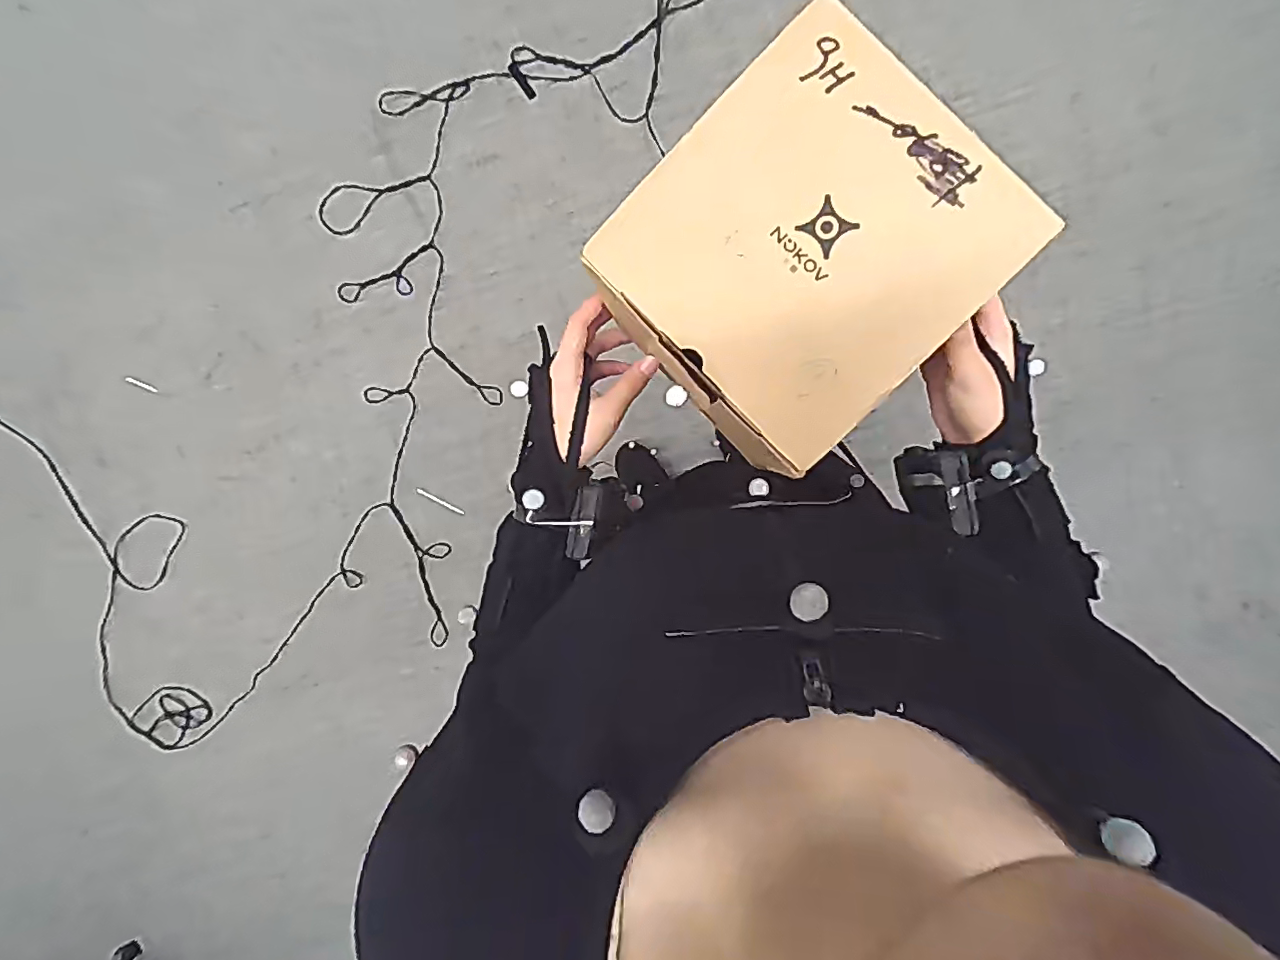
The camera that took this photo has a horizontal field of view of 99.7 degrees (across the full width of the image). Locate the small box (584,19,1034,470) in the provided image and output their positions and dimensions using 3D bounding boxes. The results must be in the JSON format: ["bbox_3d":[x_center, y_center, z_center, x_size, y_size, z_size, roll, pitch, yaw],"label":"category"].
[{"bbox_3d":[0.092,-0.124,0.363,0.168,0.176,0.179,45,96,1],"label":"small box"}]
